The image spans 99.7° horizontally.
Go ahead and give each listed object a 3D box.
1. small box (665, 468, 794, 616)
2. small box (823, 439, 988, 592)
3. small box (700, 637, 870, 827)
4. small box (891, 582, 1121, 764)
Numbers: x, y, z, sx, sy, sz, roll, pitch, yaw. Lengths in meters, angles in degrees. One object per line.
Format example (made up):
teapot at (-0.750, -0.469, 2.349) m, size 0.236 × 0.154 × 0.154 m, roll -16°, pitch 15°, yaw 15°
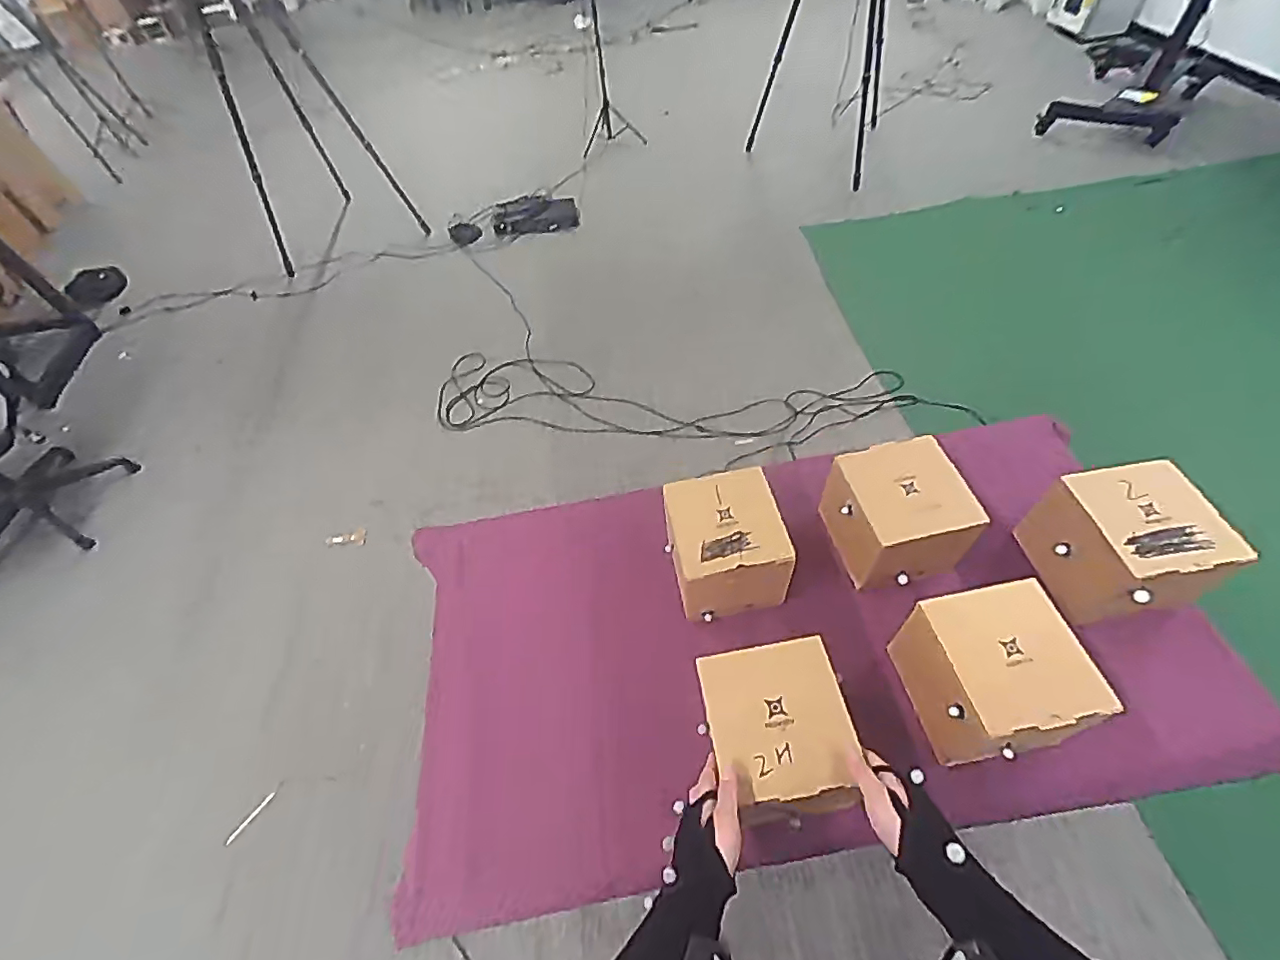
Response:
small box at (0.141, 0.110, 0.892) m, size 0.168 × 0.176 × 0.179 m, roll -11°, pitch 53°, yaw -2°
small box at (0.422, 0.061, 0.898) m, size 0.168 × 0.176 × 0.179 m, roll -12°, pitch 54°, yaw -1°
small box at (0.175, 0.332, 0.709) m, size 0.168 × 0.176 × 0.179 m, roll -11°, pitch 49°, yaw 3°
small box at (0.474, 0.266, 0.740) m, size 0.168 × 0.176 × 0.179 m, roll -11°, pitch 53°, yaw -2°
